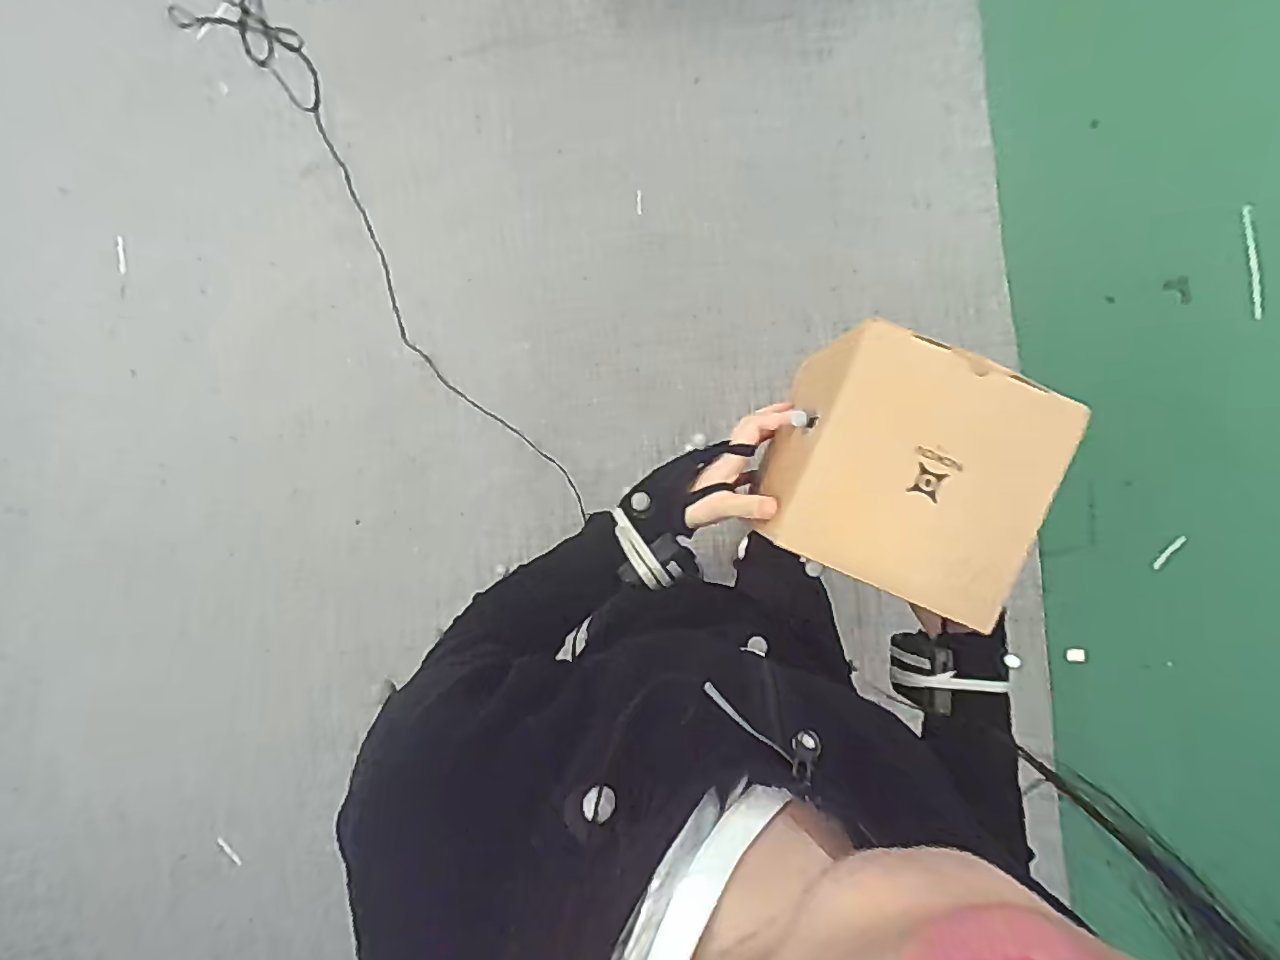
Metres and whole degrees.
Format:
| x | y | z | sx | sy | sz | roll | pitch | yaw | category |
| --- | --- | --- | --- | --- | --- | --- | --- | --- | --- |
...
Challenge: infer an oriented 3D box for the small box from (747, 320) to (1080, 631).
| x | y | z | sx | sy | sz | roll | pitch | yaw | category |
| --- | --- | --- | --- | --- | --- | --- | --- | --- | --- |
| 0.203 | -0.004 | 0.461 | 0.168 | 0.176 | 0.179 | 23 | 91 | 0 | small box |

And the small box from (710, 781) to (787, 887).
| x | y | z | sx | sy | sz | roll | pitch | yaw | category |
| --- | --- | --- | --- | --- | --- | --- | --- | --- | --- |
| 0.270 | 0.891 | 1.379 | 0.168 | 0.176 | 0.179 | -3 | 87 | 2 | small box |
